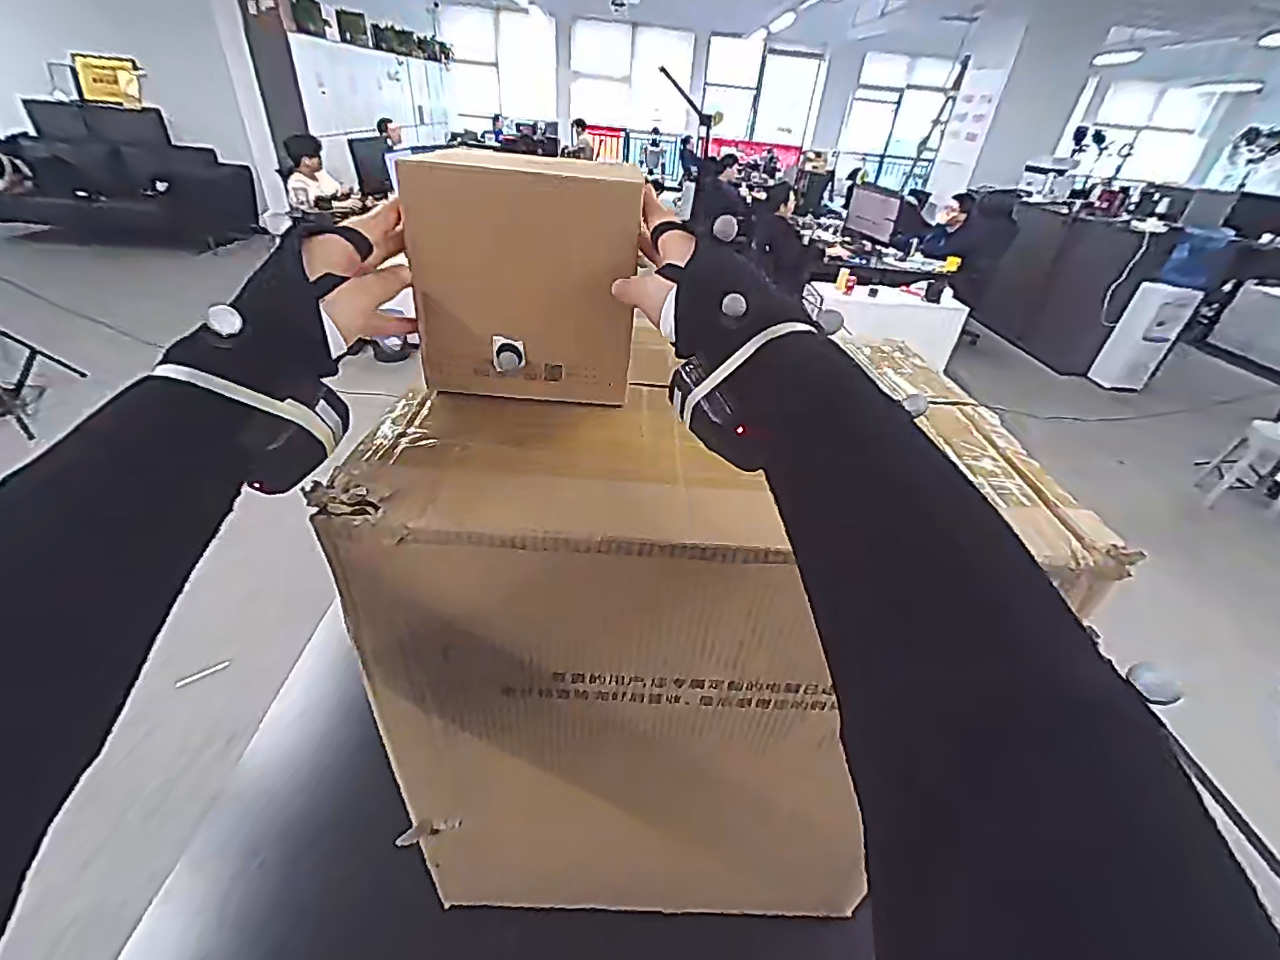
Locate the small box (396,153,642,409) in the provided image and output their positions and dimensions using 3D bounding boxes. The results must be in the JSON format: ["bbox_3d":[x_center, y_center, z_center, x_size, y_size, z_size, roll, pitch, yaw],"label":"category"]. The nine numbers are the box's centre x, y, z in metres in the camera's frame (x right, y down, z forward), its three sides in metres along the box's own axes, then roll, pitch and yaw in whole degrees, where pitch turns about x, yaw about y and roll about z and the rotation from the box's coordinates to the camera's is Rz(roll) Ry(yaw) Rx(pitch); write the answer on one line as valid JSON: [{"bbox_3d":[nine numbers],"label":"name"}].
[{"bbox_3d":[-0.089,-0.176,0.470,0.168,0.176,0.179,1,34,-4],"label":"small box"}]
